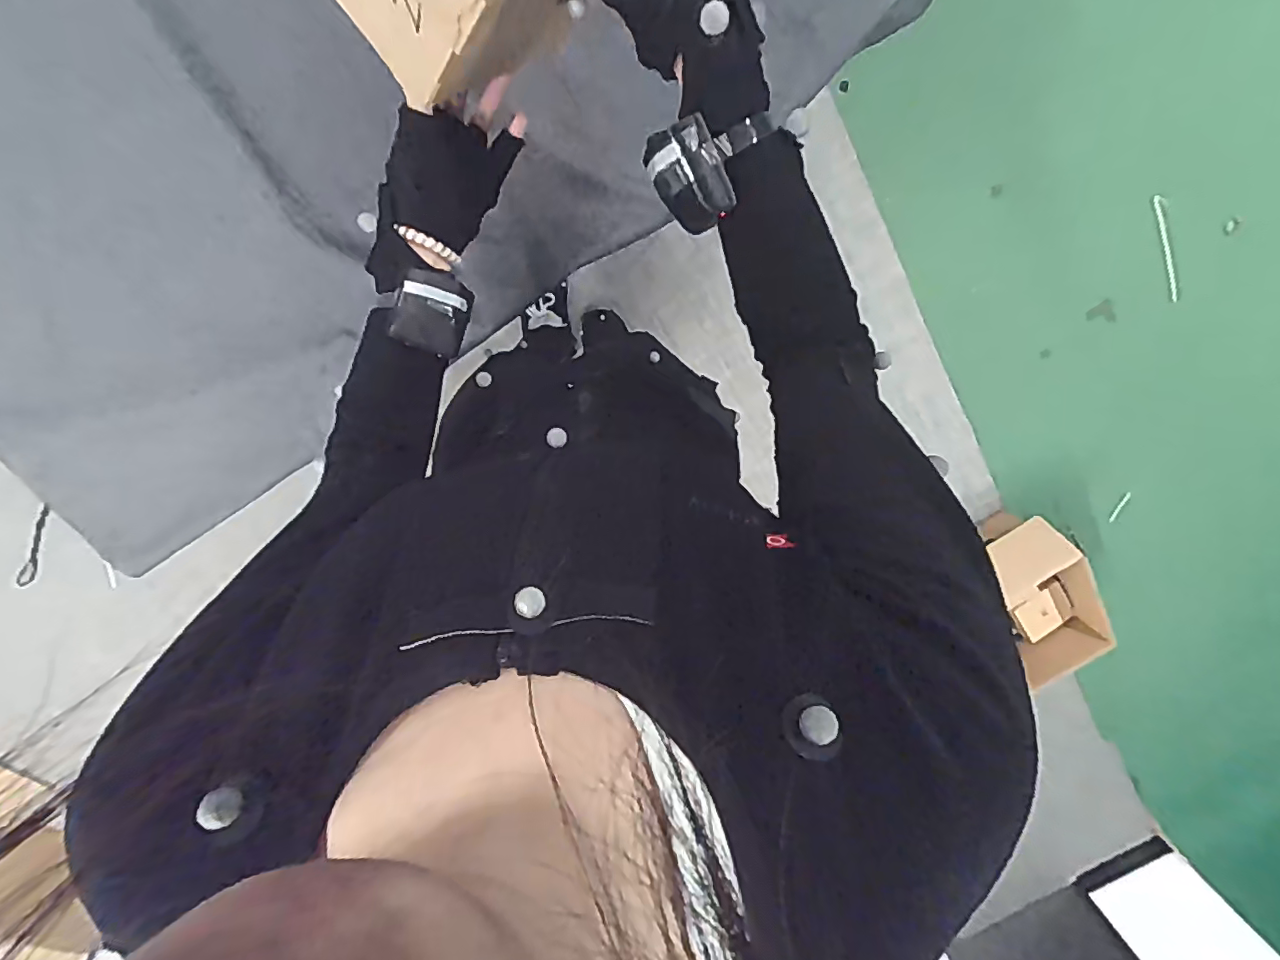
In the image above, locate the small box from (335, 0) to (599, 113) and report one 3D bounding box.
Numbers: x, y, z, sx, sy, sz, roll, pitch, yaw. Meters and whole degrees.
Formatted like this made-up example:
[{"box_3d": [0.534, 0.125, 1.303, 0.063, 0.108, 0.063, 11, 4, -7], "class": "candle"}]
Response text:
[{"box_3d": [-0.114, -0.391, 0.344, 0.179, 0.168, 0.176, 50, 57, -22], "class": "small box"}]
